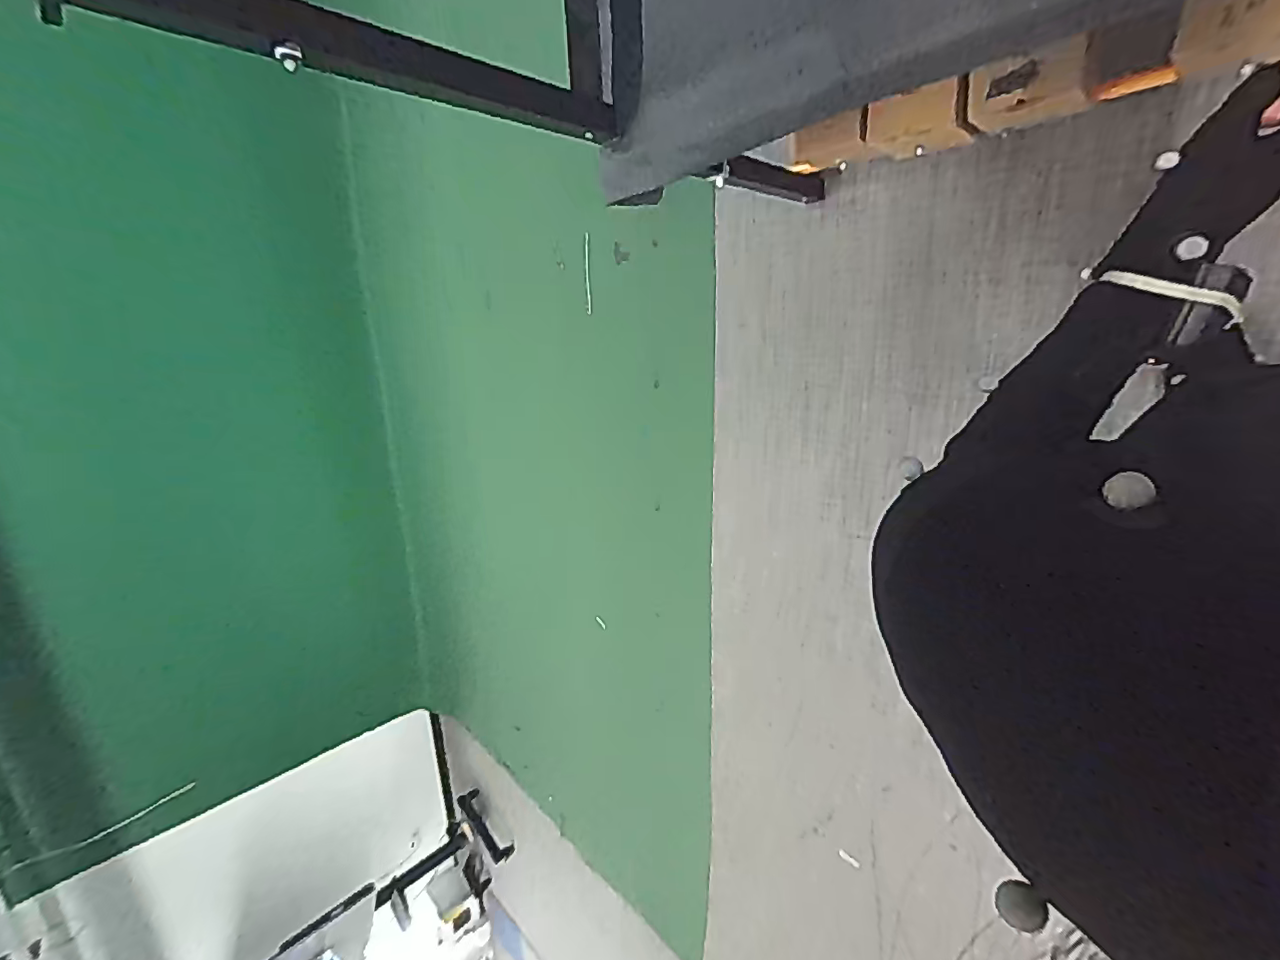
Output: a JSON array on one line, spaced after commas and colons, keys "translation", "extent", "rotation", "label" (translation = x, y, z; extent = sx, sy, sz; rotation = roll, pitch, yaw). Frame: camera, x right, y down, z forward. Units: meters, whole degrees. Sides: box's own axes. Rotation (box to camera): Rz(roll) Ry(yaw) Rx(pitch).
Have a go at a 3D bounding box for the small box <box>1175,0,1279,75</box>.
[{"translation": [0.911, -0.722, 0.775], "extent": [0.168, 0.176, 0.179], "rotation": [20, 118, 43], "label": "small box"}]
